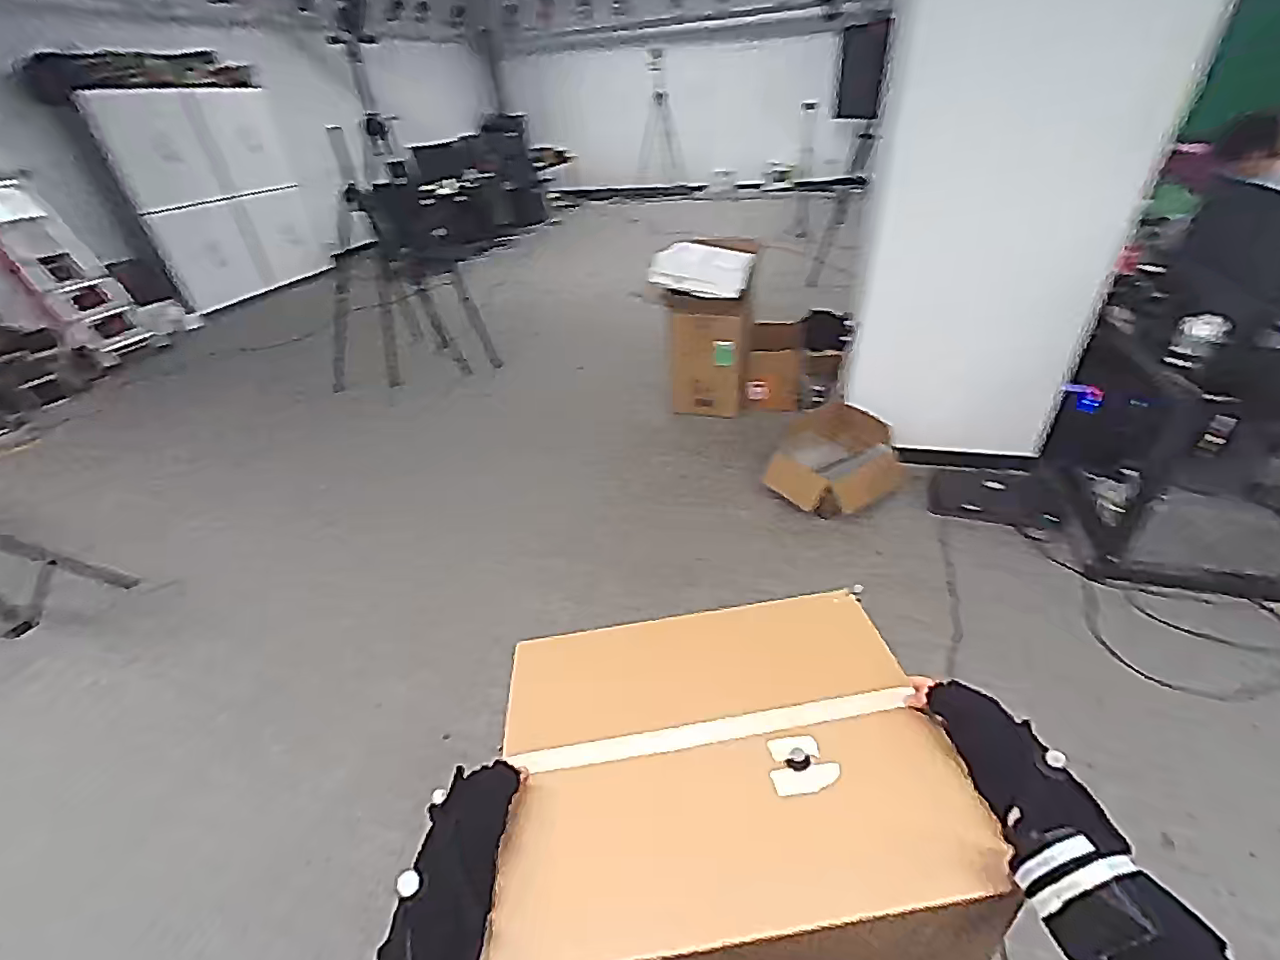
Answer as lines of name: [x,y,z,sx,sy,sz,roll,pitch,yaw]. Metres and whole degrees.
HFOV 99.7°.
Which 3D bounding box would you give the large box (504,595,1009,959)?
large box: [0.090,0.377,0.607,0.408,0.320,0.320,-9,32,-2]
